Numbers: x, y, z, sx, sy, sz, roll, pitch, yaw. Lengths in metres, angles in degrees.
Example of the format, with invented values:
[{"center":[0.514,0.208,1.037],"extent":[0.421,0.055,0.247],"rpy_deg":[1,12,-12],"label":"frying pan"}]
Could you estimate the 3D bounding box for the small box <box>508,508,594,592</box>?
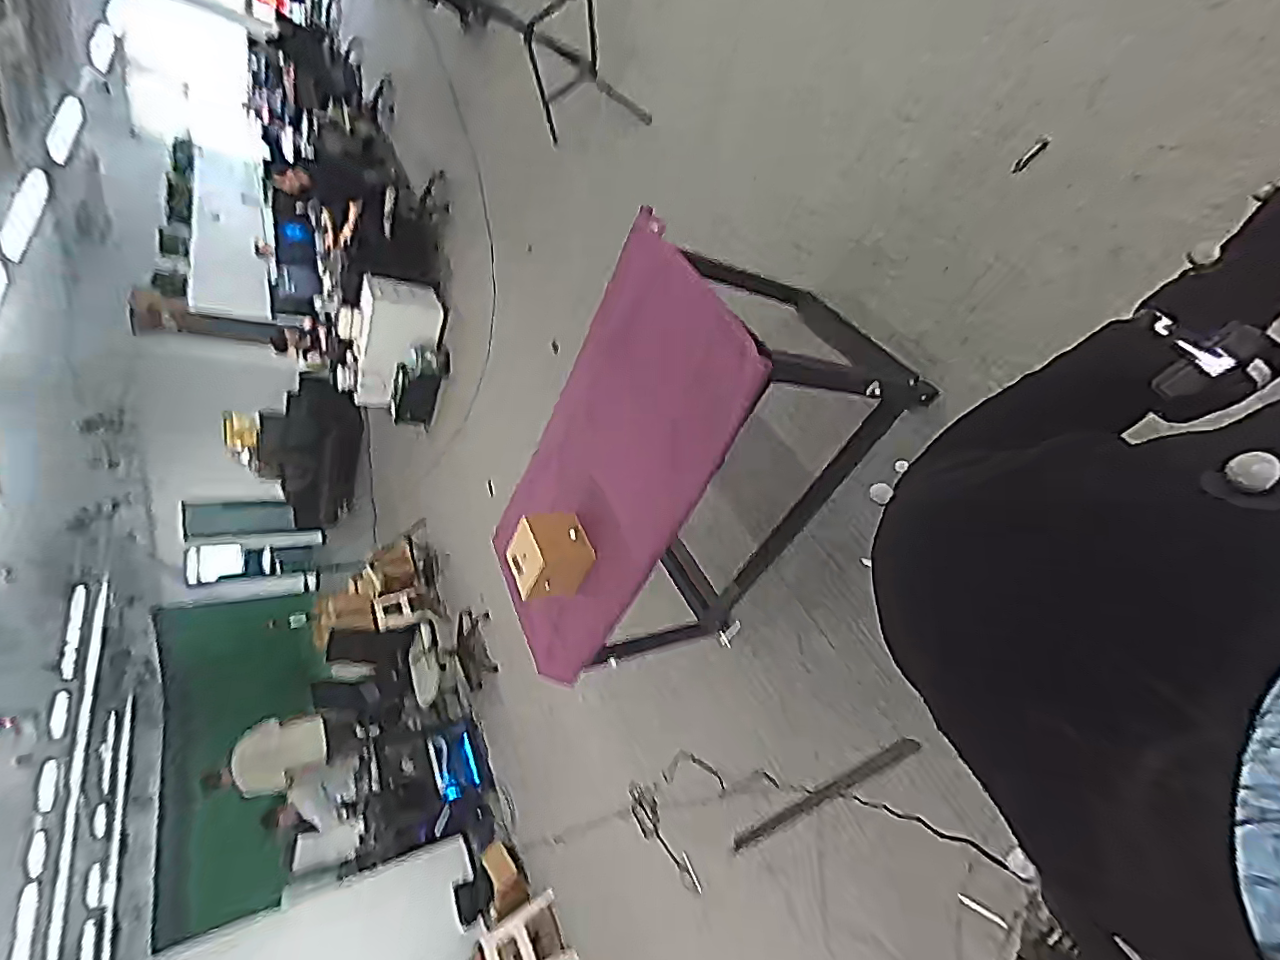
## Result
[{"center":[-0.254,0.197,1.546],"extent":[0.179,0.176,0.168],"rpy_deg":[-58,49,34],"label":"small box"}]
